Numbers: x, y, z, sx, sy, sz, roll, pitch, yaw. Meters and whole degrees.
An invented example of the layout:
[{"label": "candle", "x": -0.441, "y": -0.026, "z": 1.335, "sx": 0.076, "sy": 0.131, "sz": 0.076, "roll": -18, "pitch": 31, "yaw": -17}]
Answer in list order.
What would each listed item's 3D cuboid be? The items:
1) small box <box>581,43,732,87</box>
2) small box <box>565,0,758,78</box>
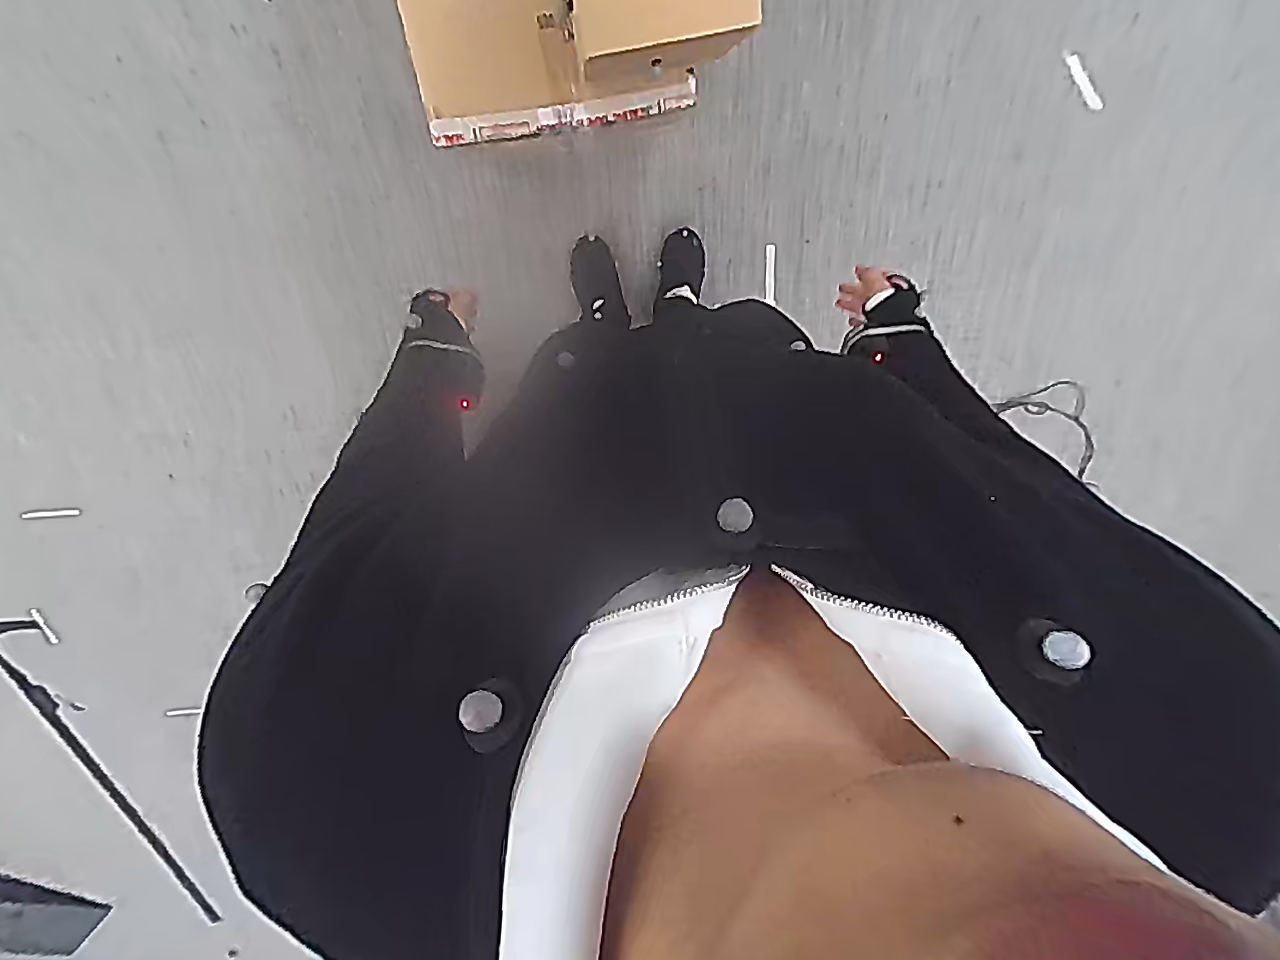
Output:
[{"label": "small box", "x": 0.004, "y": -0.600, "z": 0.657, "sx": 0.179, "sy": 0.176, "sz": 0.168, "roll": -11, "pitch": 120, "yaw": 0}, {"label": "small box", "x": 0.008, "y": -0.508, "z": 0.518, "sx": 0.168, "sy": 0.176, "sz": 0.179, "roll": -11, "pitch": 120, "yaw": -1}]
